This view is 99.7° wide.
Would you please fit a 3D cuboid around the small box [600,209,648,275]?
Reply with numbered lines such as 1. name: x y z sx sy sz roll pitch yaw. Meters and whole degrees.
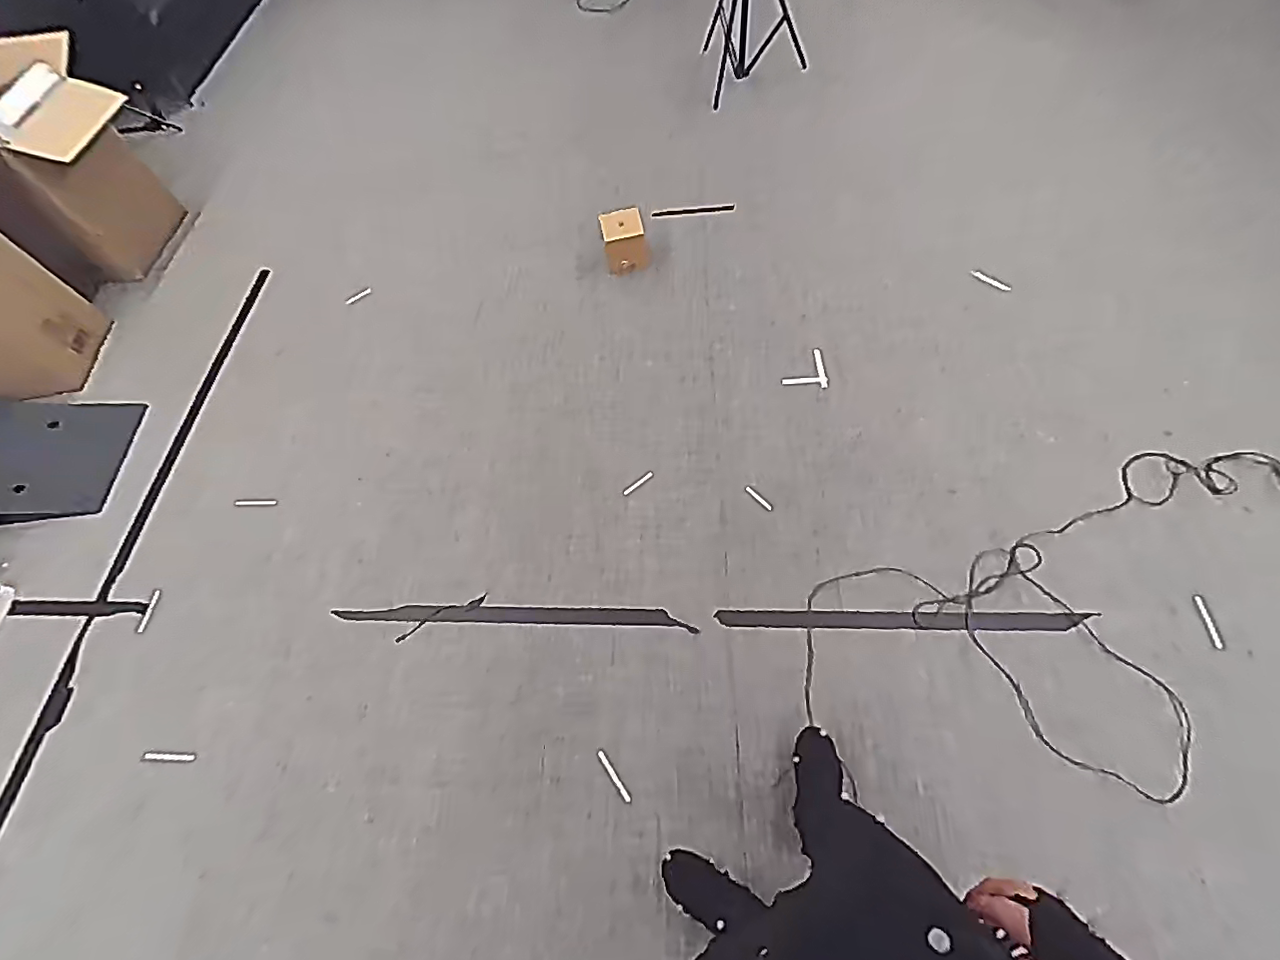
1. small box: -0.067 -0.994 2.265 0.168 0.176 0.179 -12 61 1
